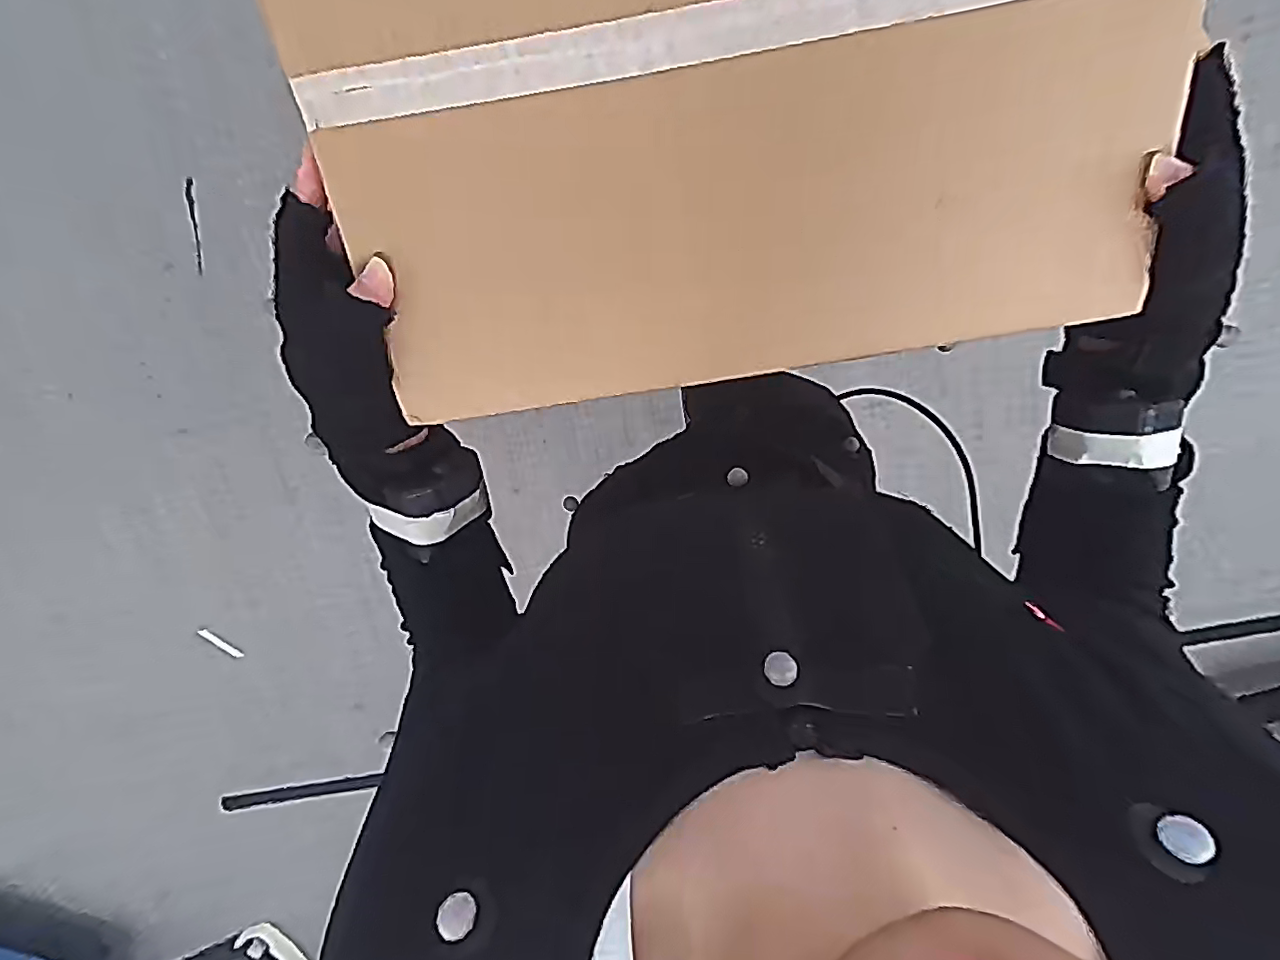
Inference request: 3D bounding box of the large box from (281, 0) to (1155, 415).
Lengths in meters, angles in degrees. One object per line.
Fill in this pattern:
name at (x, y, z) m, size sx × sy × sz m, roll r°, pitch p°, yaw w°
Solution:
large box at (0.039, -0.266, 0.387) m, size 0.408 × 0.320 × 0.320 m, roll -9°, pitch 112°, yaw 2°
